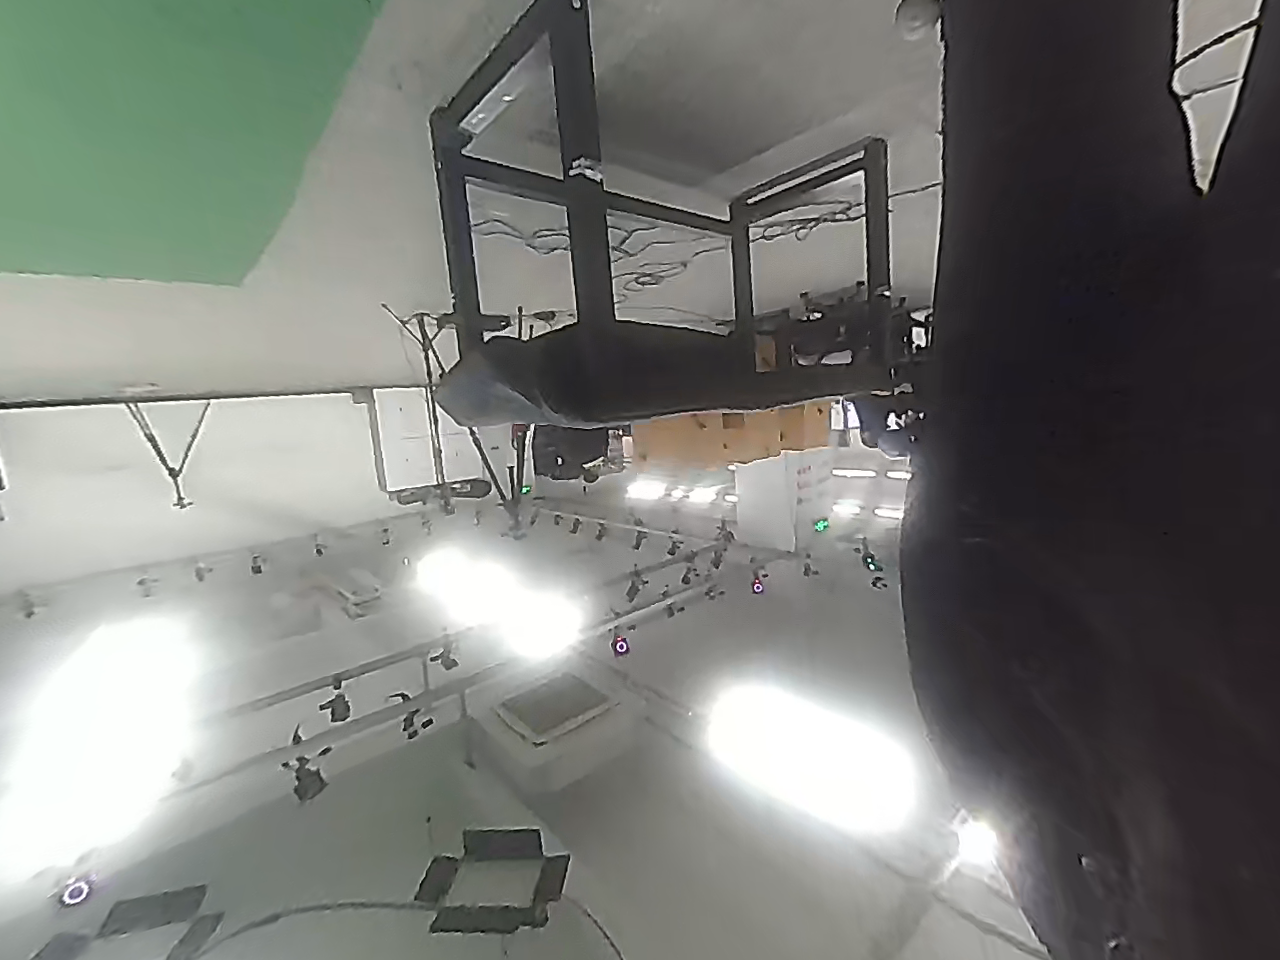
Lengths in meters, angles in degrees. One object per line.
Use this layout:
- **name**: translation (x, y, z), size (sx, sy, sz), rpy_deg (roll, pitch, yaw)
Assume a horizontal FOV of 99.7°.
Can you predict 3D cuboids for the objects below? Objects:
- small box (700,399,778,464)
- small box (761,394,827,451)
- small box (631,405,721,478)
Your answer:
- **small box**: translation (0.271, -0.142, 1.544), size (0.168, 0.176, 0.179), rpy_deg (-12, -169, -41)
- **small box**: translation (0.483, -0.187, 1.735), size (0.168, 0.176, 0.179), rpy_deg (-11, -169, -40)
- **small box**: translation (0.089, -0.104, 1.389), size (0.168, 0.176, 0.179), rpy_deg (-12, -169, -40)
